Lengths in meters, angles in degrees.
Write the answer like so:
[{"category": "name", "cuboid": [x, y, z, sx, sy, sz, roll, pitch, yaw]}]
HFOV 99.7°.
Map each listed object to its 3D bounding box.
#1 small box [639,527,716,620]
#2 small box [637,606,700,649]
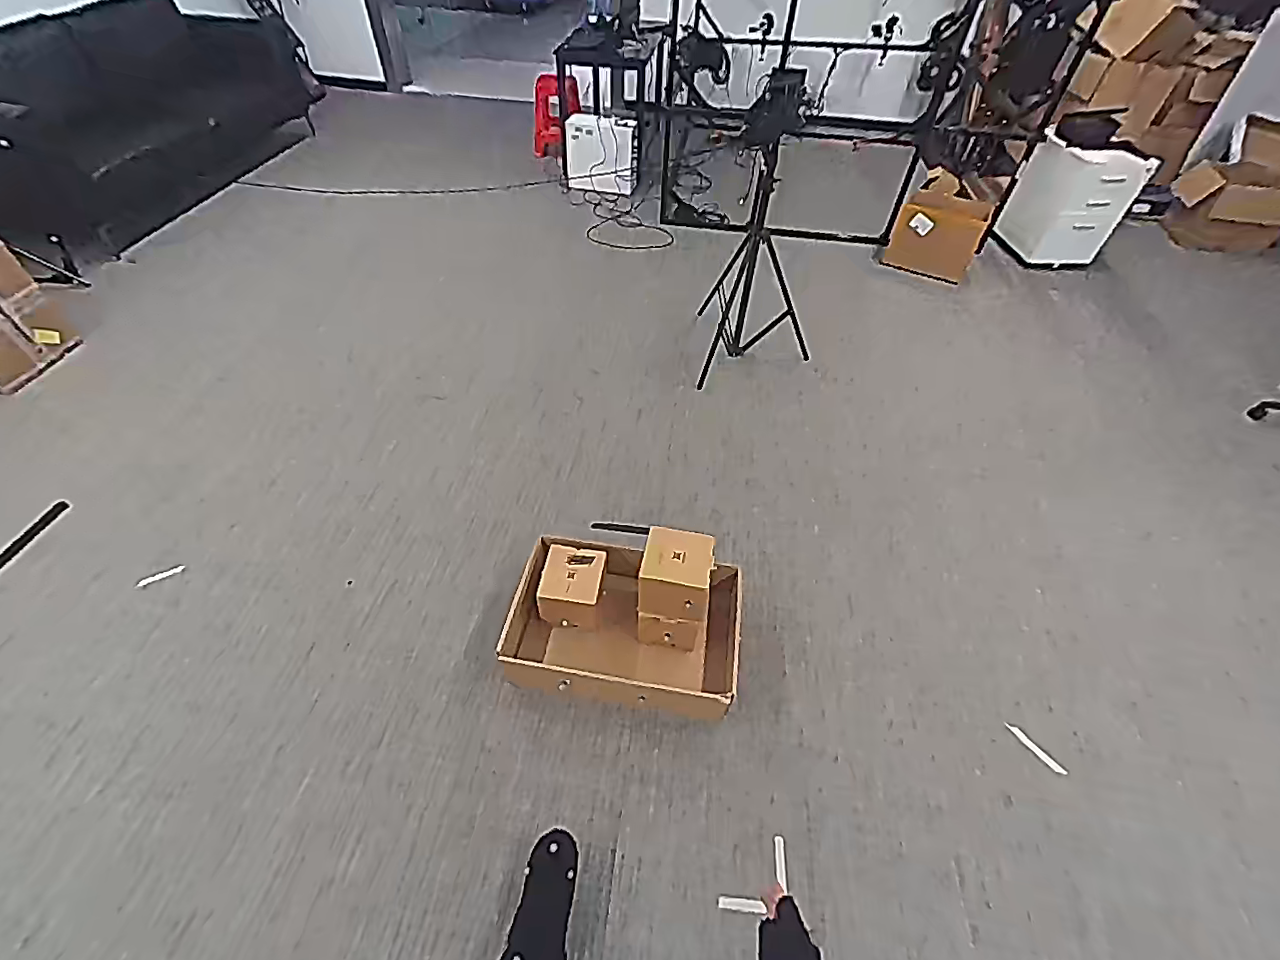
[{"category": "small box", "cuboid": [0.097, 0.250, 1.422, 0.179, 0.176, 0.168, 8, 47, 8]}, {"category": "small box", "cuboid": [0.090, 0.362, 1.542, 0.168, 0.176, 0.179, 7, 50, 8]}]
